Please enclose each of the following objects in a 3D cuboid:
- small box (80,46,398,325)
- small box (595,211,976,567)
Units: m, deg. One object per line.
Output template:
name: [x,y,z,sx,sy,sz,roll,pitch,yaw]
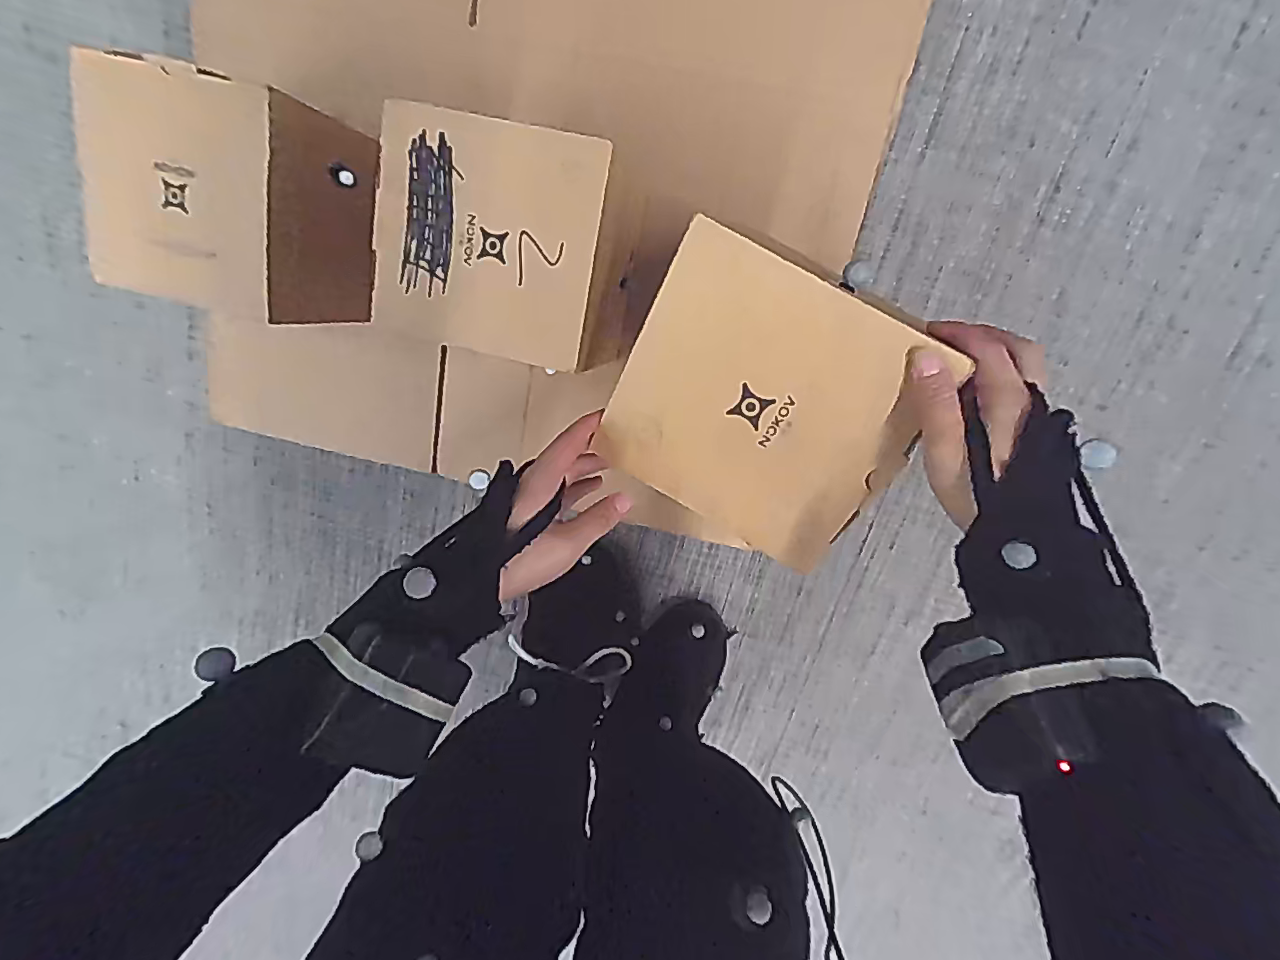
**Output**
small box: [-0.349,-0.251,0.504,0.168,0.176,0.179,14,109,5]
small box: [0.098,-0.074,0.405,0.179,0.176,0.168,30,118,4]
